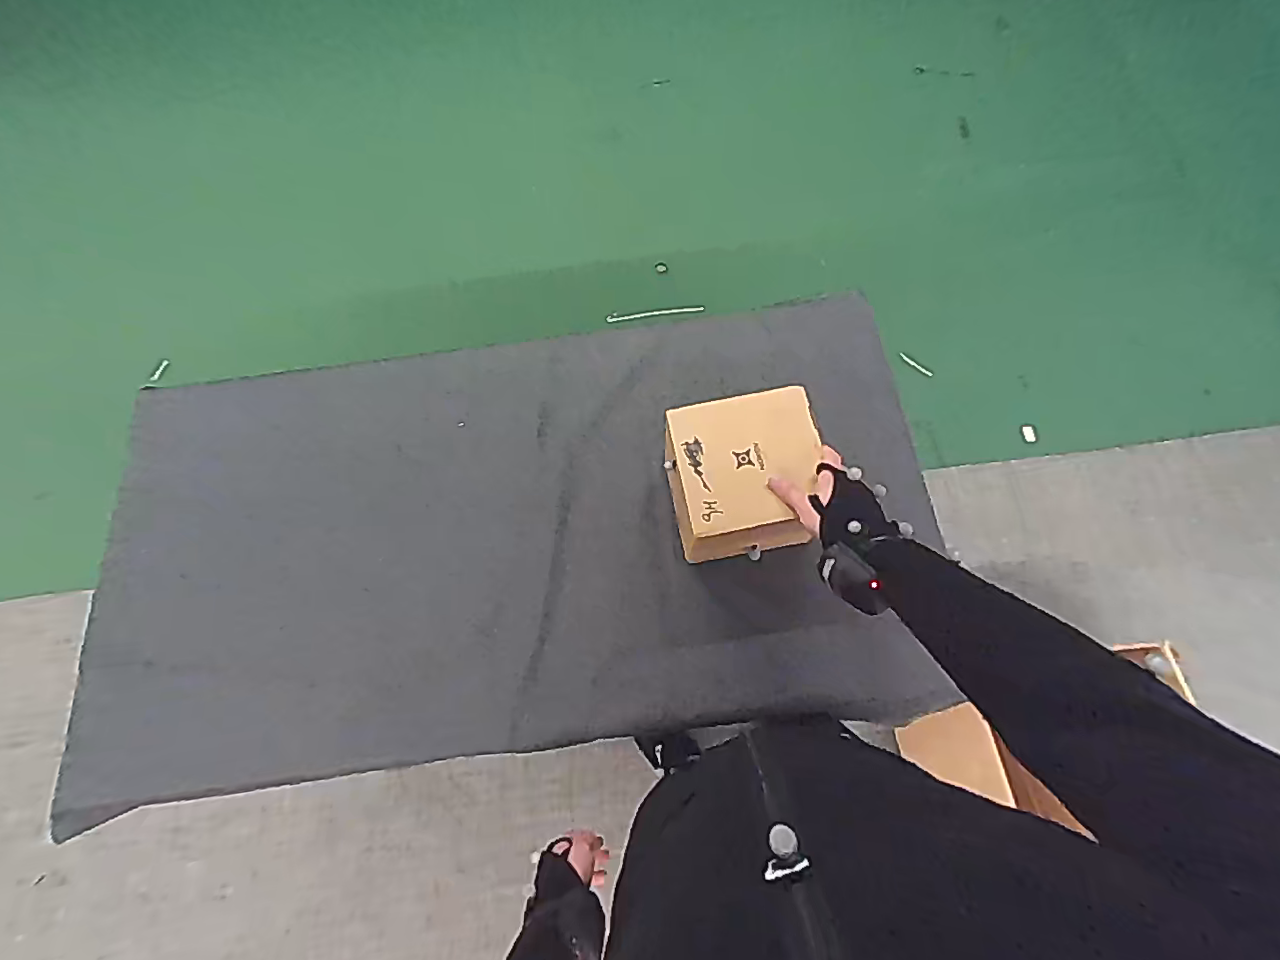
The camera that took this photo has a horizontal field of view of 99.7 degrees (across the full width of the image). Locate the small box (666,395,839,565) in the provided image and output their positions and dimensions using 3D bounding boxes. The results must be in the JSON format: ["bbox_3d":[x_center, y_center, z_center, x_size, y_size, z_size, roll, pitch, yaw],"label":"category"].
[{"bbox_3d":[0.136,0.009,0.731,0.179,0.176,0.168,-13,72,-2],"label":"small box"}]
